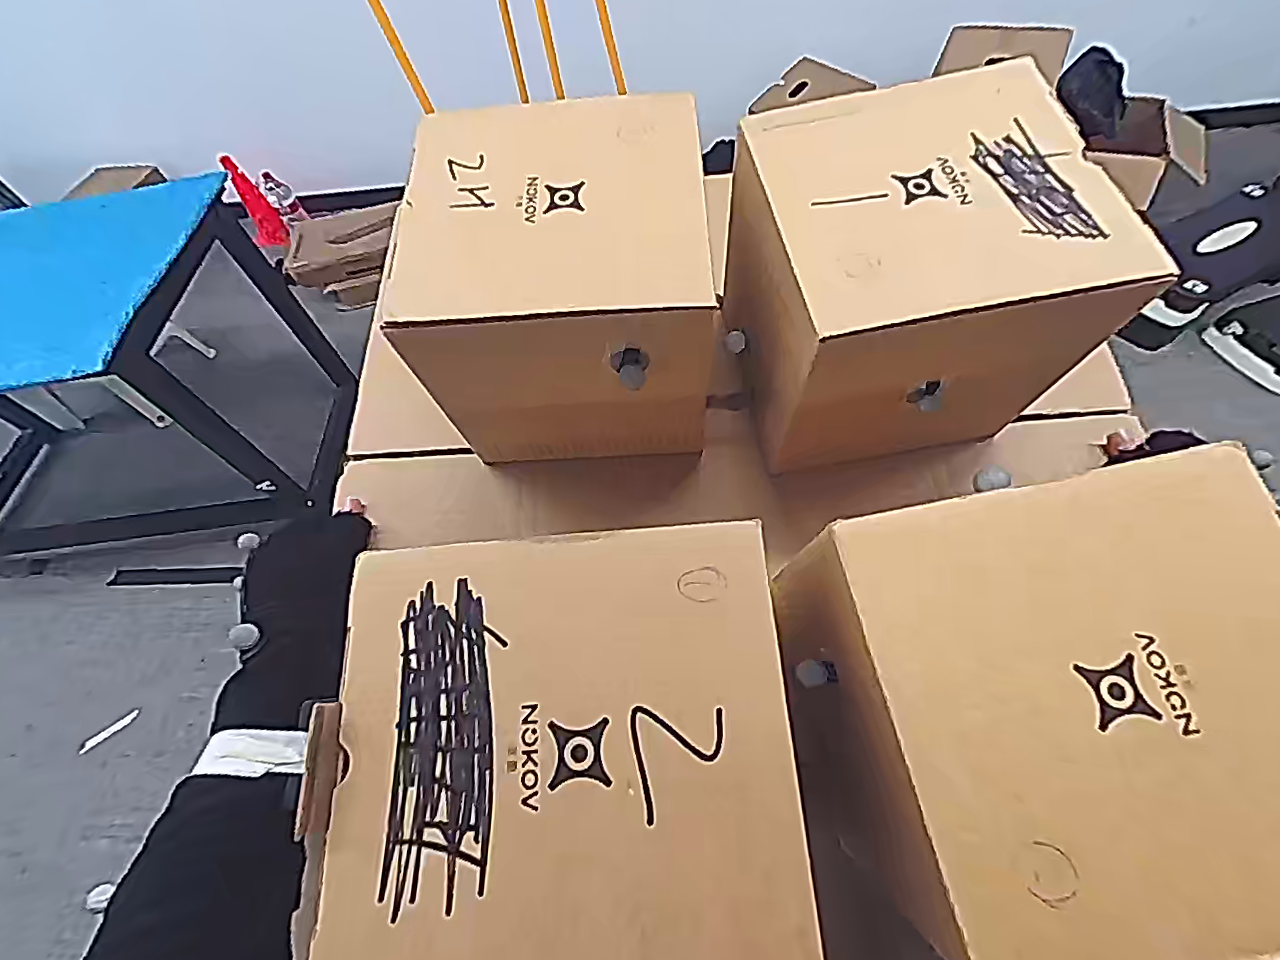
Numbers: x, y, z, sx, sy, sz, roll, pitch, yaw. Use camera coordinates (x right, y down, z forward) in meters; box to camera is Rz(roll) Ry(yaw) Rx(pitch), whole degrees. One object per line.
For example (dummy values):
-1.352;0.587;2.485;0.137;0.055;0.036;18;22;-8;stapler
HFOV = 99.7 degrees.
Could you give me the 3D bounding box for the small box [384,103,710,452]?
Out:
-0.046;-0.128;0.388;0.179;0.176;0.168;-2;67;4;small box
